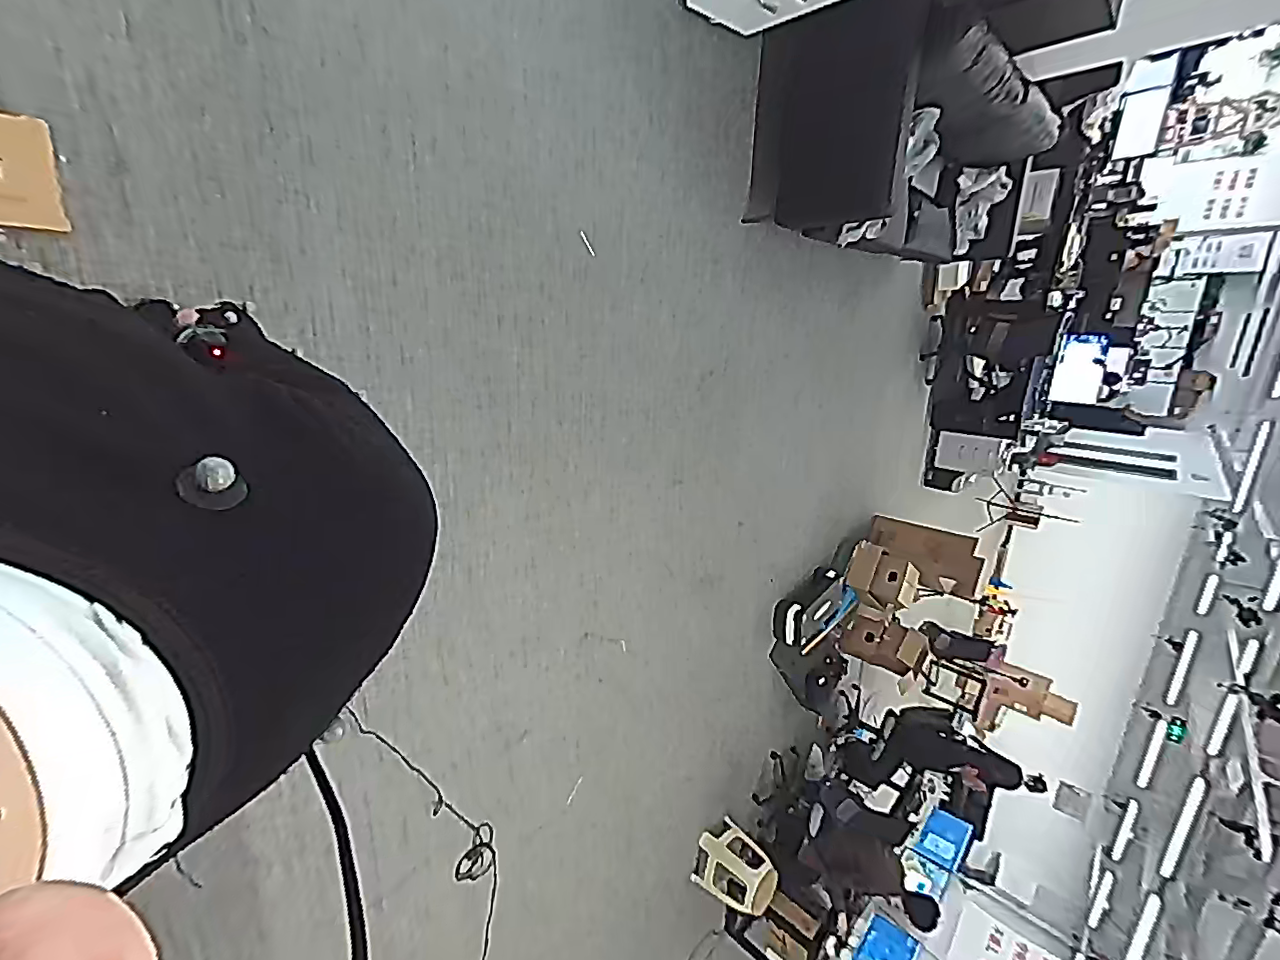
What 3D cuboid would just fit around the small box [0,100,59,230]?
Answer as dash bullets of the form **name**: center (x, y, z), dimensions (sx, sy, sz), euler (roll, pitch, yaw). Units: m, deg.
- **small box**: center (-1.110, -0.533, 0.906), dimensions (0.168, 0.176, 0.179), euler (-11, 111, -44)
